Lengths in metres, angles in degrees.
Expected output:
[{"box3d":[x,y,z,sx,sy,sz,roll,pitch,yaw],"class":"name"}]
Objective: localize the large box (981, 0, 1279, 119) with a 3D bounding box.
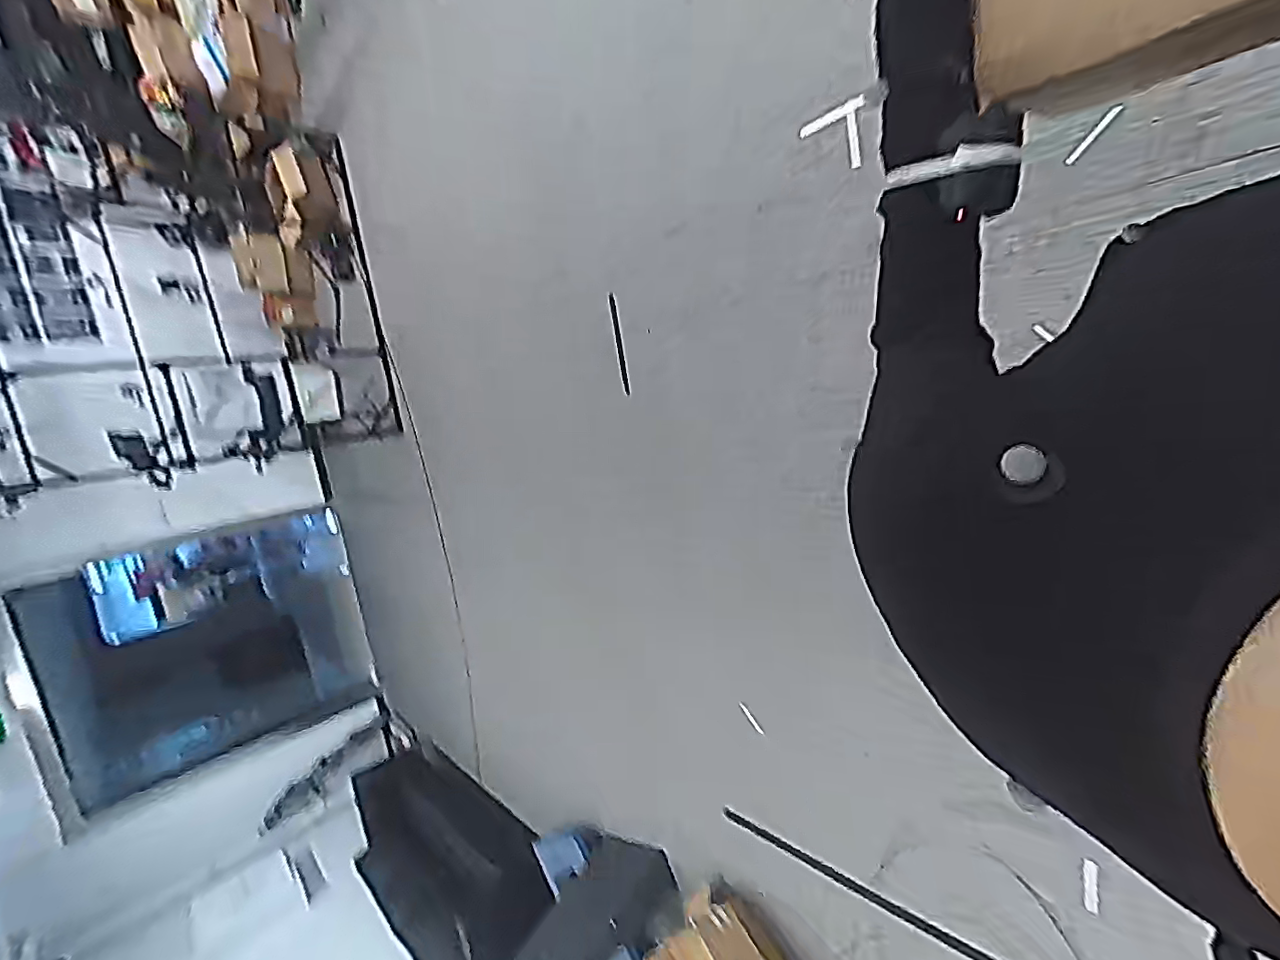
[{"box3d":[0.449,-0.473,0.315,0.408,0.320,0.320,1,115,43],"class":"large box"}]
